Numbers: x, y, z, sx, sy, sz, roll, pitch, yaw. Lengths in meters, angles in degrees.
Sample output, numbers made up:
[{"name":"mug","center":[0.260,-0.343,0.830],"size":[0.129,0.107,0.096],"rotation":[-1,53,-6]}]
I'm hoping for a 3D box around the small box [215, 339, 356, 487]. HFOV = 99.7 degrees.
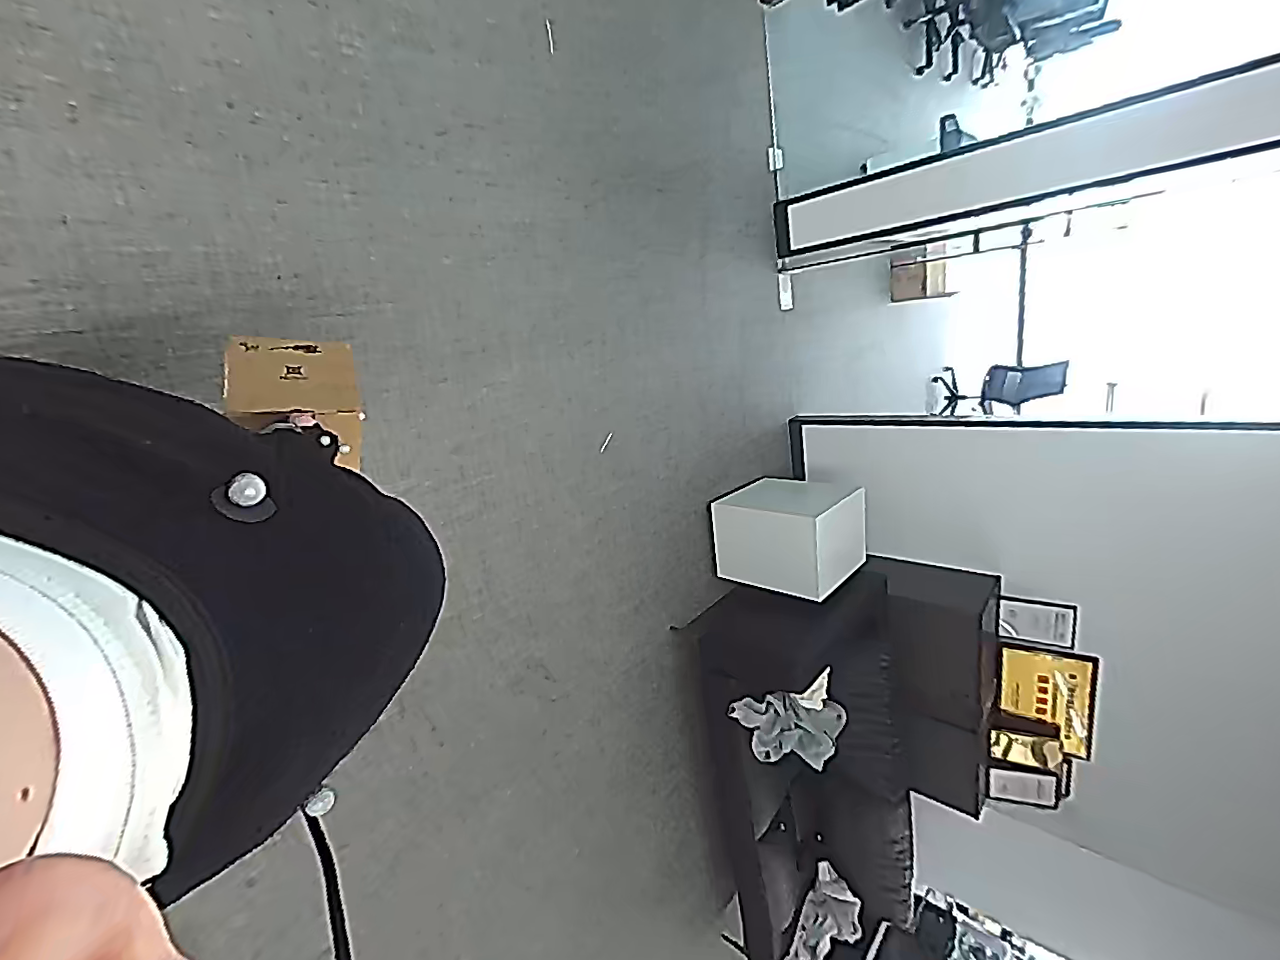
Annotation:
[{"name":"small box","center":[-0.556,-0.103,0.858],"size":[0.168,0.179,0.176],"rotation":[-8,142,-32]}]
